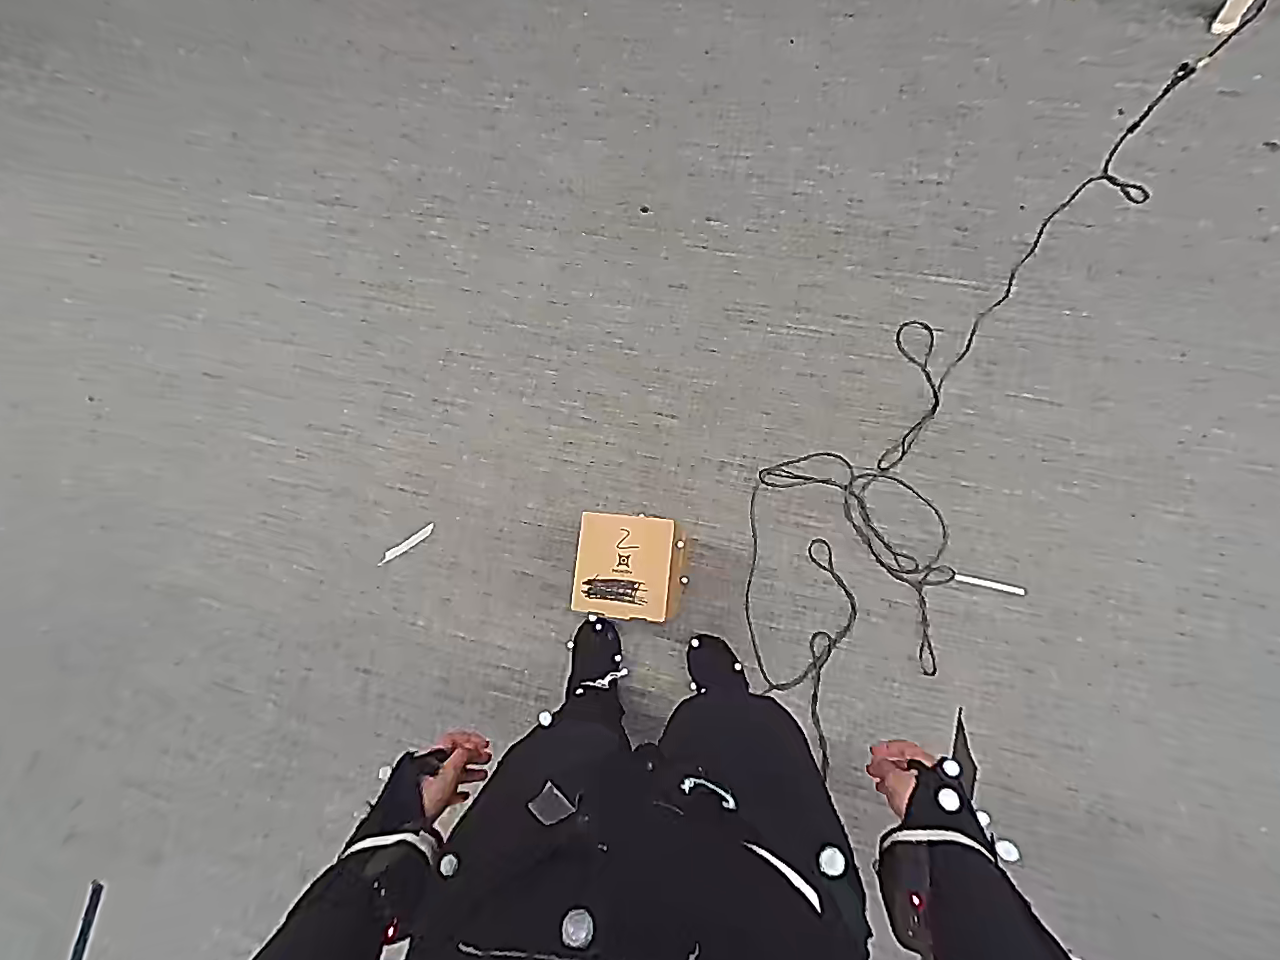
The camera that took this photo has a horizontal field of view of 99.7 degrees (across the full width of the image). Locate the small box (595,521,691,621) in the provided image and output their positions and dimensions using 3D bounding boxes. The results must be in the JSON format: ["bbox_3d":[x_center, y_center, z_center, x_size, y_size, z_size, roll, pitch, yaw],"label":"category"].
[{"bbox_3d":[0.015,0.194,1.164,0.168,0.176,0.179,9,82,10],"label":"small box"}]
